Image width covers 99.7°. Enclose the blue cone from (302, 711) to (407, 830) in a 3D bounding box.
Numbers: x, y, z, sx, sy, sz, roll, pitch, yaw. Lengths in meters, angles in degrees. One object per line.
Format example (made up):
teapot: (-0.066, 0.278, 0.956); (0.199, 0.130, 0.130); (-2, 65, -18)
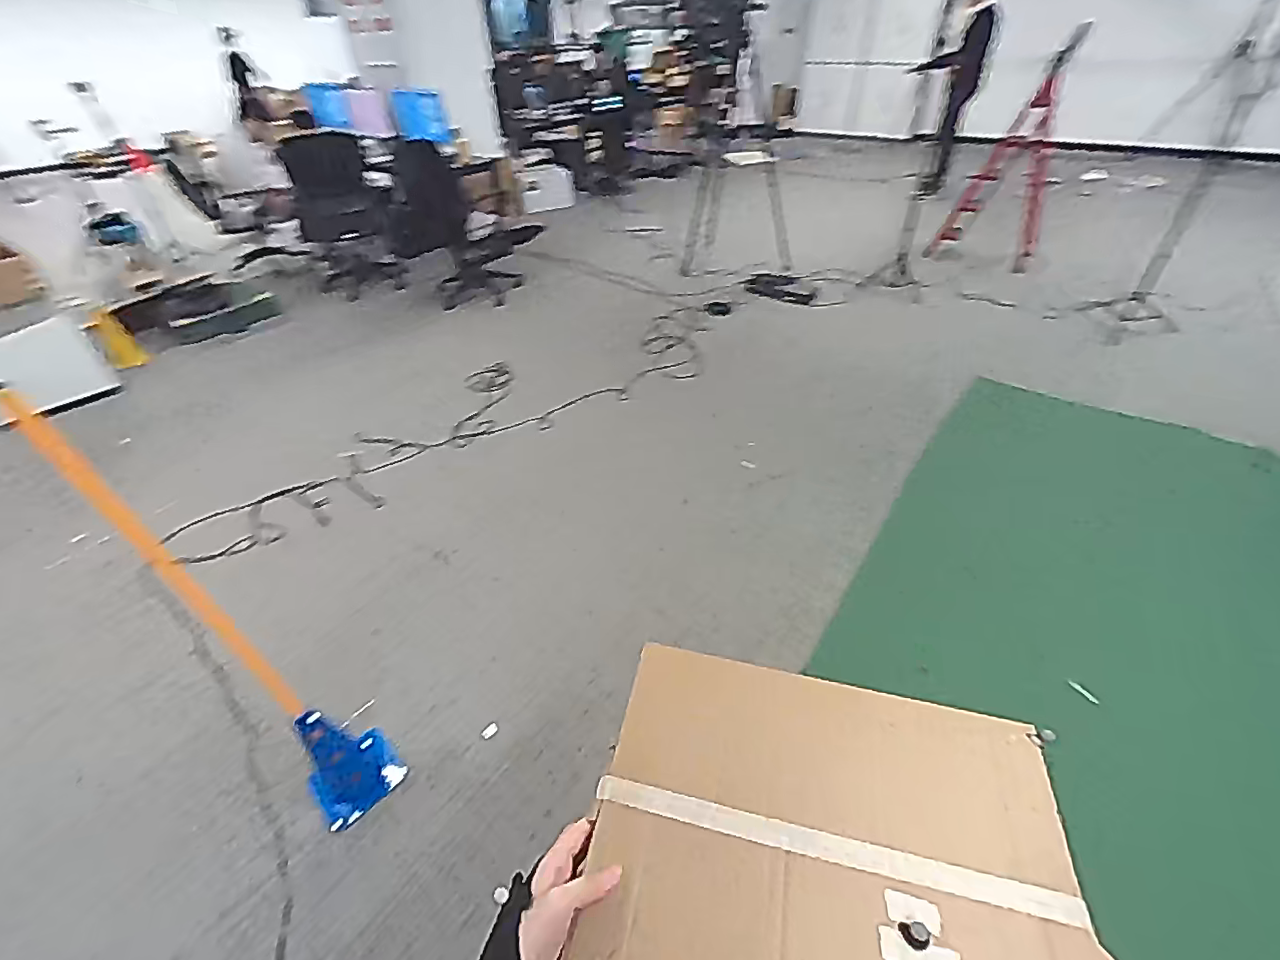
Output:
blue cone: (-0.753, 0.679, 1.351); (0.193, 0.380, 0.192); (-33, 49, -32)
